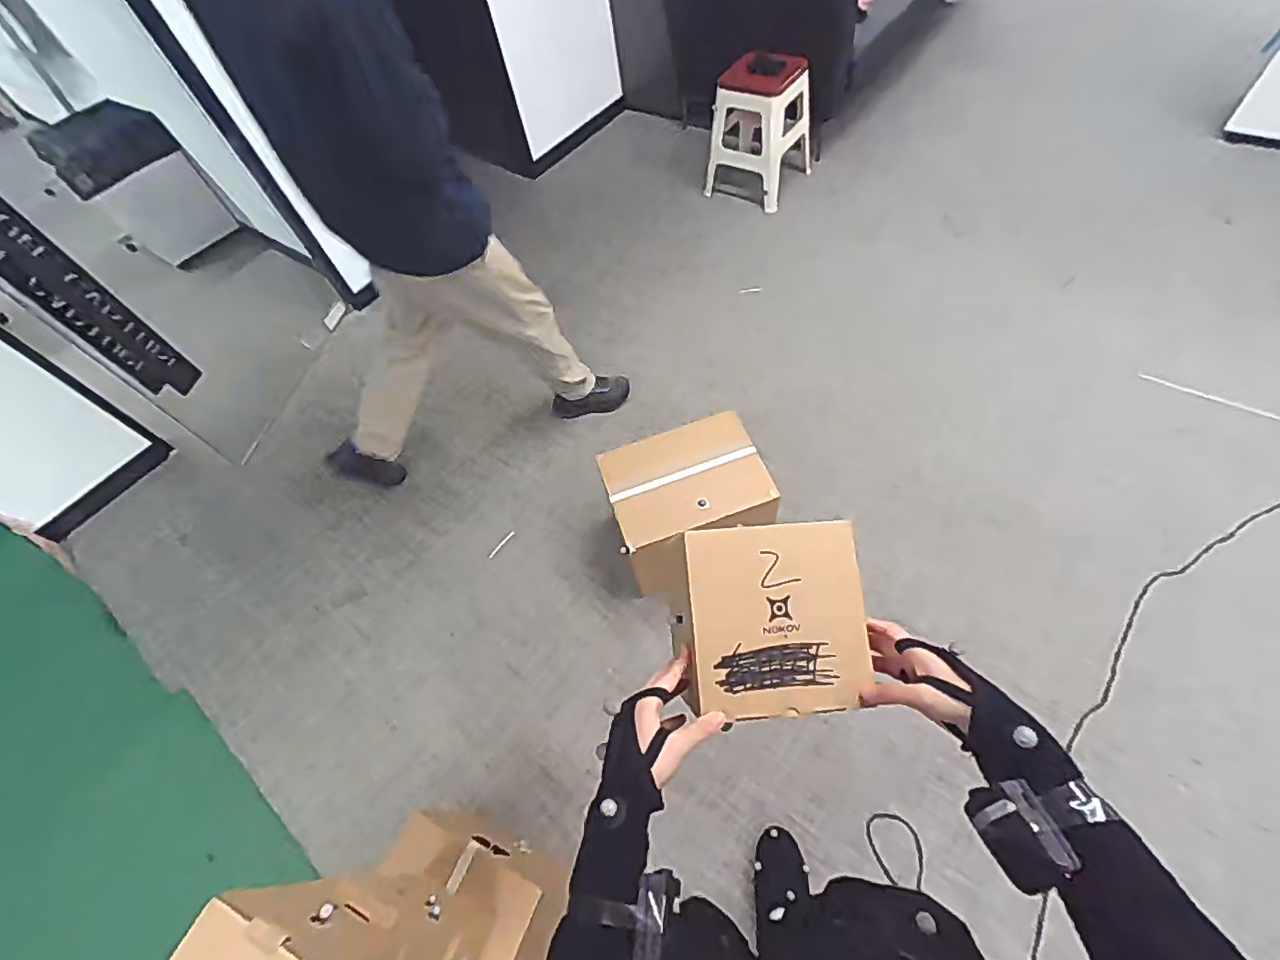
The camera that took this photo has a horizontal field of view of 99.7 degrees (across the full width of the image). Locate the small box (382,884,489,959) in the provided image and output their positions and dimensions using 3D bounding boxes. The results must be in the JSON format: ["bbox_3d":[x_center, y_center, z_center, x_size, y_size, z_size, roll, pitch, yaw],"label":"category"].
[{"bbox_3d":[-0.371,0.773,0.857,0.179,0.176,0.168,17,60,20],"label":"small box"}]

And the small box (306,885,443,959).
[{"bbox_3d":[-0.393,0.679,0.725,0.168,0.176,0.179,16,60,18],"label":"small box"}]

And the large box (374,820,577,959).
[{"bbox_3d":[-0.367,0.938,1.042,0.320,0.320,0.408,16,62,20],"label":"large box"}]

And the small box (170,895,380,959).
[{"bbox_3d":[-0.418,0.589,0.589,0.168,0.176,0.179,17,59,19],"label":"small box"}]
